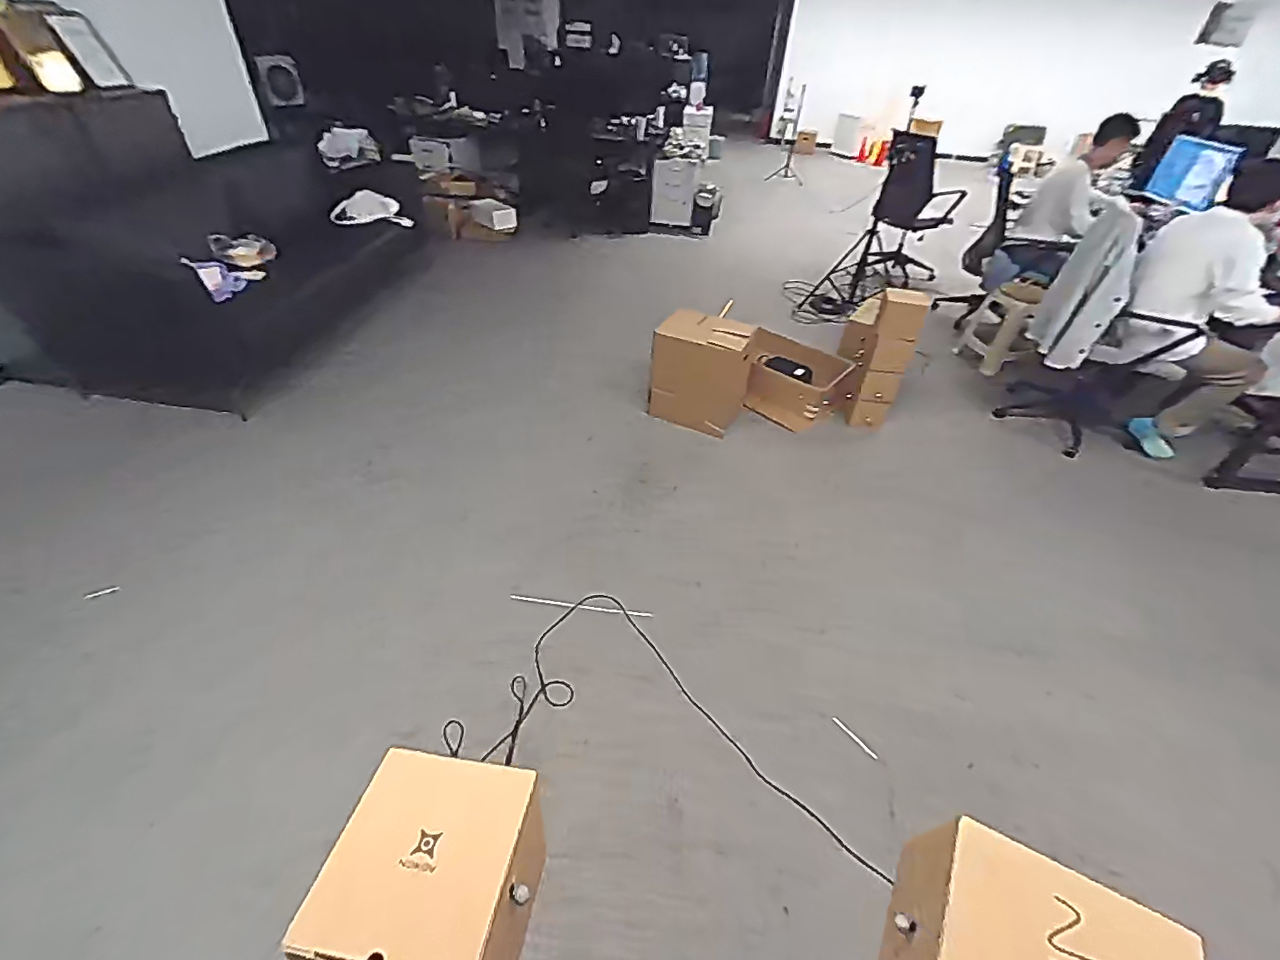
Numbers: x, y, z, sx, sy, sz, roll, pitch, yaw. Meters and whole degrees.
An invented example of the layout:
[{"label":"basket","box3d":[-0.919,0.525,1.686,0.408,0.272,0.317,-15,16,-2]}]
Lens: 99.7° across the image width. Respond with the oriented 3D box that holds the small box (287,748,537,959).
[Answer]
[{"label":"small box","box3d":[-0.208,0.414,0.553,0.168,0.176,0.179,6,33,5]}]
